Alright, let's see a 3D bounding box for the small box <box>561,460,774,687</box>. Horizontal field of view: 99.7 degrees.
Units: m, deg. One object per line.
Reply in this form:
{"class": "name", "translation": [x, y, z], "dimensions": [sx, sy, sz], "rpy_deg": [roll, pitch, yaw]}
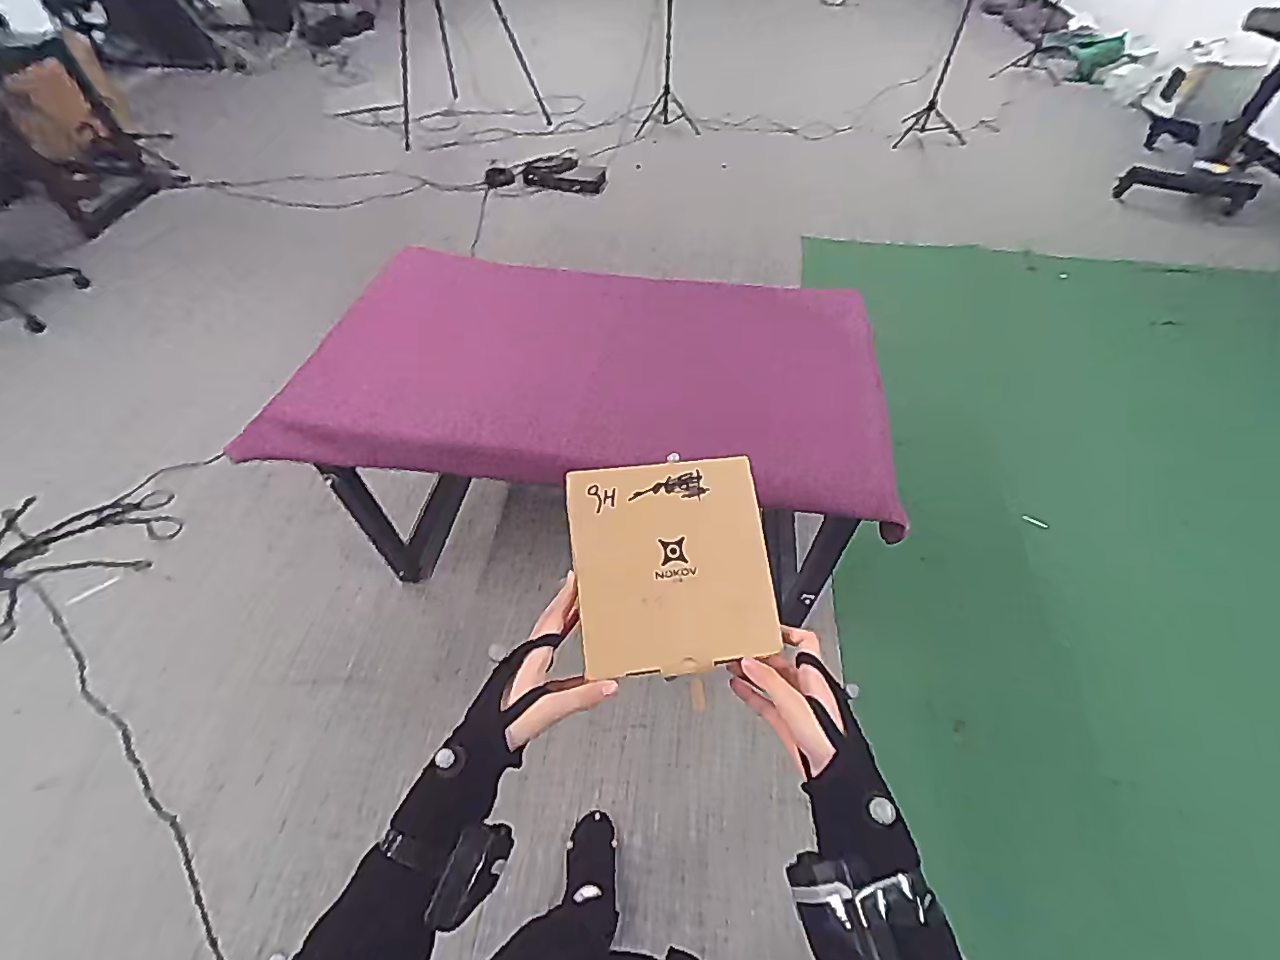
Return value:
{"class": "small box", "translation": [0.014, 0.091, 0.531], "dimensions": [0.168, 0.176, 0.179], "rpy_deg": [-6, 77, -8]}
